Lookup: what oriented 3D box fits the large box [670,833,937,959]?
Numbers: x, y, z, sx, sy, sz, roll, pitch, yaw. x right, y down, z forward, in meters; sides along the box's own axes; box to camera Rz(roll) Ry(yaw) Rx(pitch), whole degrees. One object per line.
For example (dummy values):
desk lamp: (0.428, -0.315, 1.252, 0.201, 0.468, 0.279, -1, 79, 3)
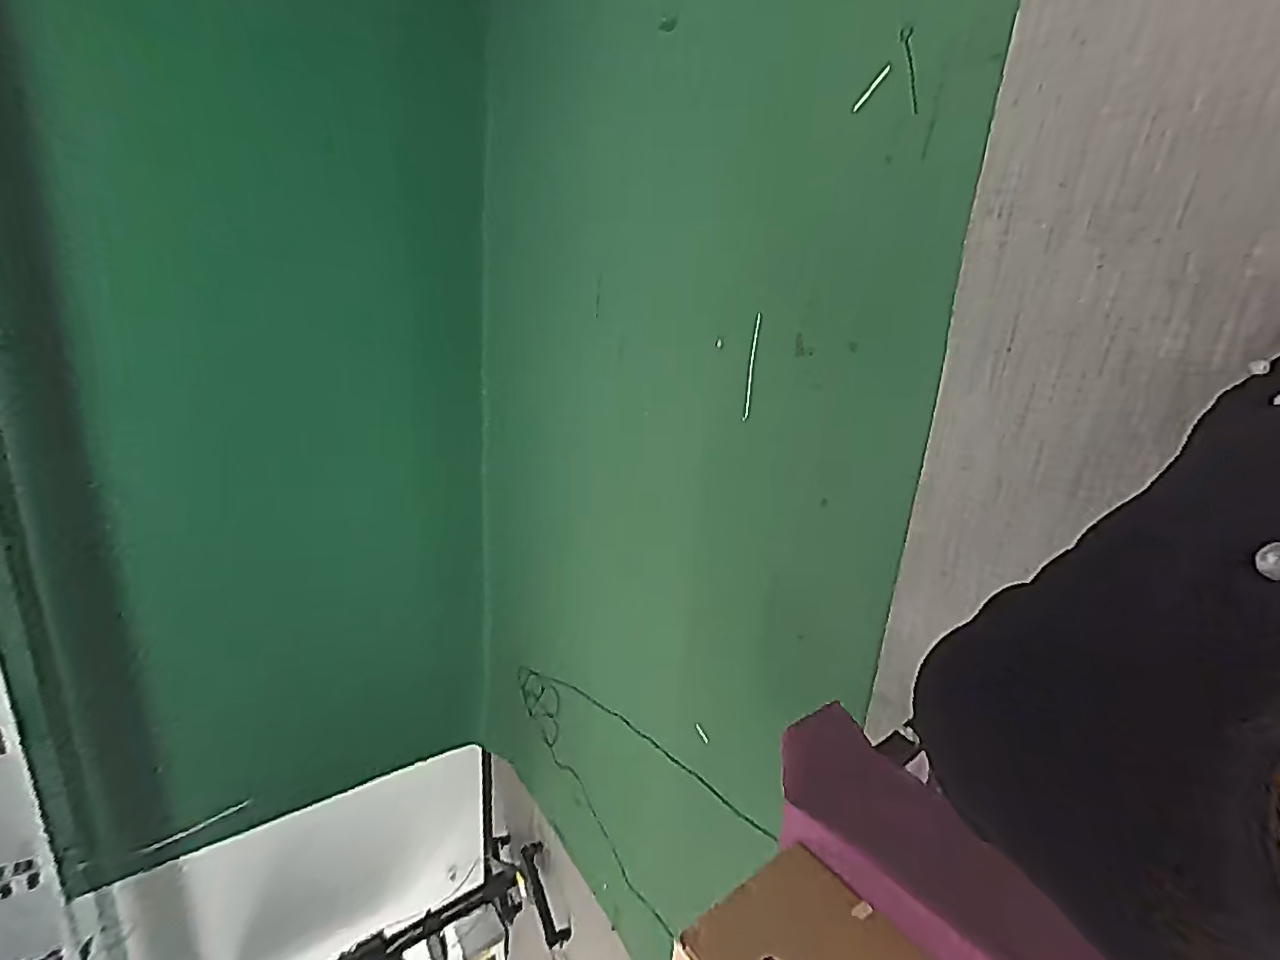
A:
large box: (0.251, 0.918, 0.892, 0.320, 0.320, 0.408, 22, 112, 48)
